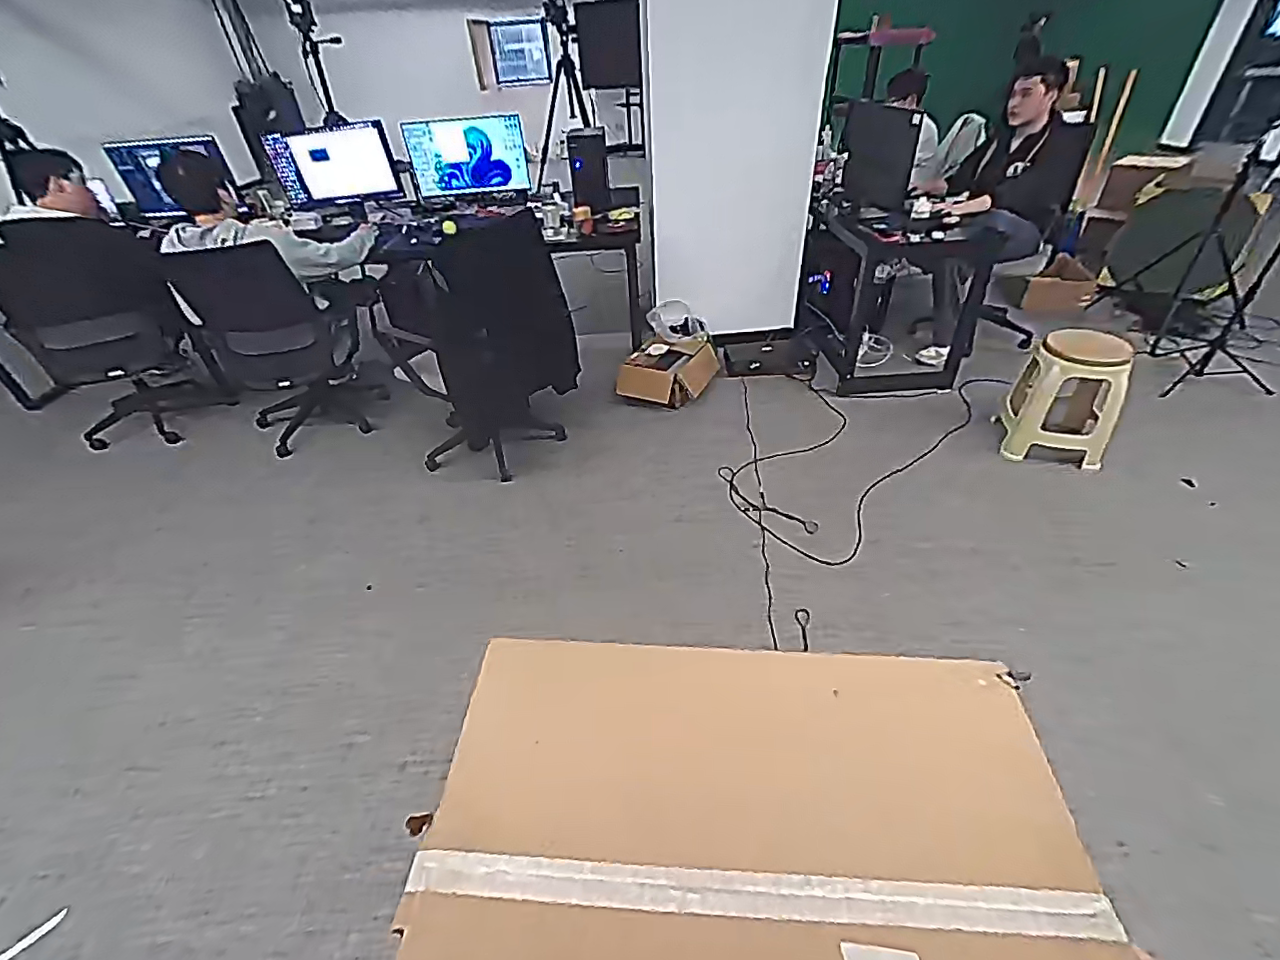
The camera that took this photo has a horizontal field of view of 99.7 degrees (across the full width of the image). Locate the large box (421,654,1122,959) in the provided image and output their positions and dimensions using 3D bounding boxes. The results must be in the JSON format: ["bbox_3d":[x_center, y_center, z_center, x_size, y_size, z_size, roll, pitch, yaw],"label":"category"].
[{"bbox_3d":[0.075,0.360,0.430,0.408,0.320,0.320,2,45,3],"label":"large box"}]
